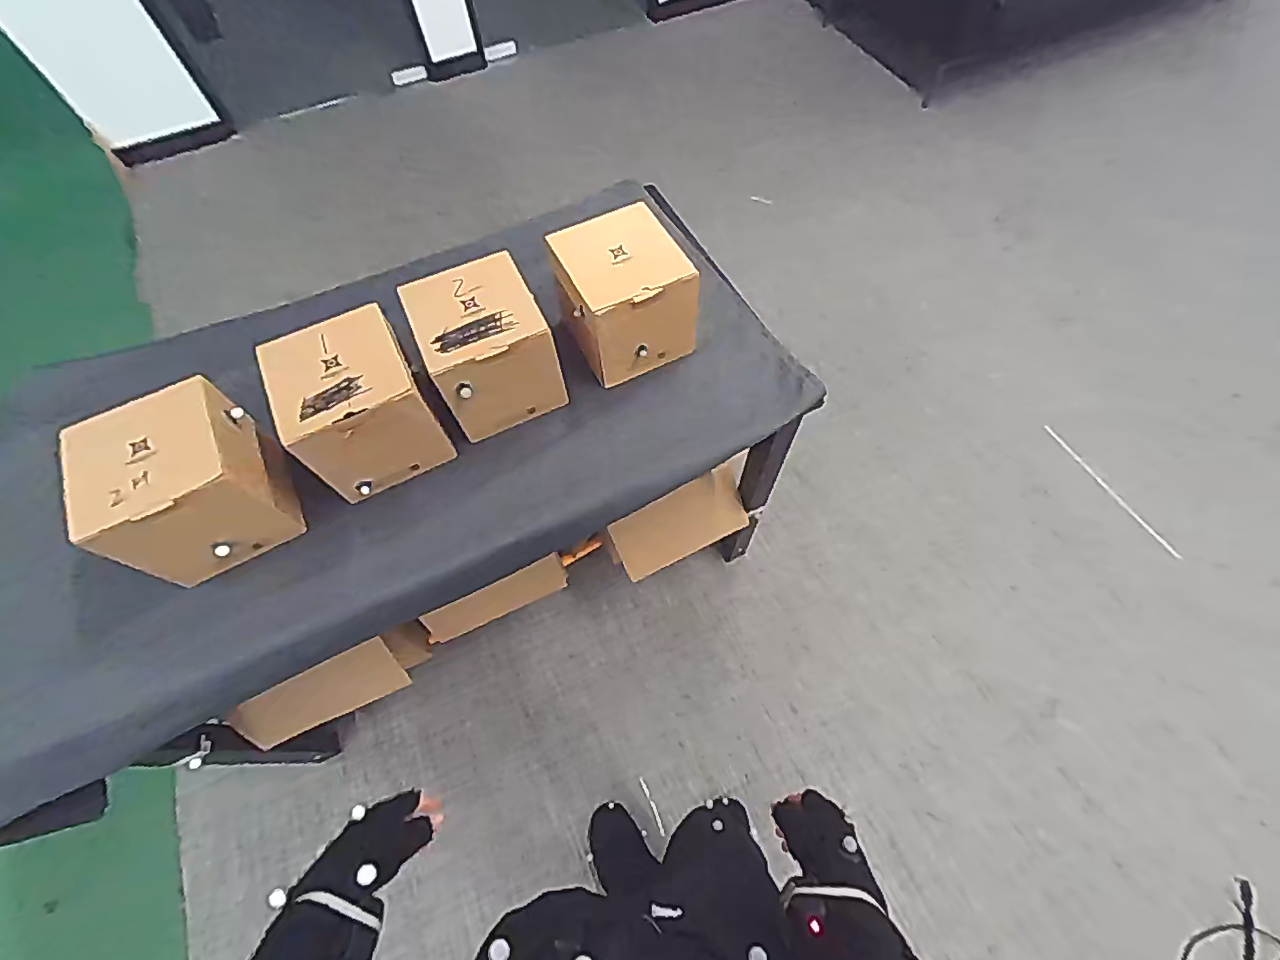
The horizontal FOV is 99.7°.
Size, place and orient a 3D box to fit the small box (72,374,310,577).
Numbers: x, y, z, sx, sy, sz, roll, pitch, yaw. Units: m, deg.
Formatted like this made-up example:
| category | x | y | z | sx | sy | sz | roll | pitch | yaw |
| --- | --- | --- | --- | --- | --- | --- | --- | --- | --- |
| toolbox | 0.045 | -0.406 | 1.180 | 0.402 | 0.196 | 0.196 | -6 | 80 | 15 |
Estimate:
| category | x | y | z | sx | sy | sz | roll | pitch | yaw |
| --- | --- | --- | --- | --- | --- | --- | --- | --- | --- |
| small box | -0.581 | 0.001 | 0.716 | 0.168 | 0.176 | 0.179 | -29 | 66 | -11 |

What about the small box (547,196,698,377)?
| category | x | y | z | sx | sy | sz | roll | pitch | yaw |
| --- | --- | --- | --- | --- | --- | --- | --- | --- | --- |
| small box | -0.026 | -0.295 | 0.843 | 0.168 | 0.176 | 0.179 | -26 | 66 | -10 |
